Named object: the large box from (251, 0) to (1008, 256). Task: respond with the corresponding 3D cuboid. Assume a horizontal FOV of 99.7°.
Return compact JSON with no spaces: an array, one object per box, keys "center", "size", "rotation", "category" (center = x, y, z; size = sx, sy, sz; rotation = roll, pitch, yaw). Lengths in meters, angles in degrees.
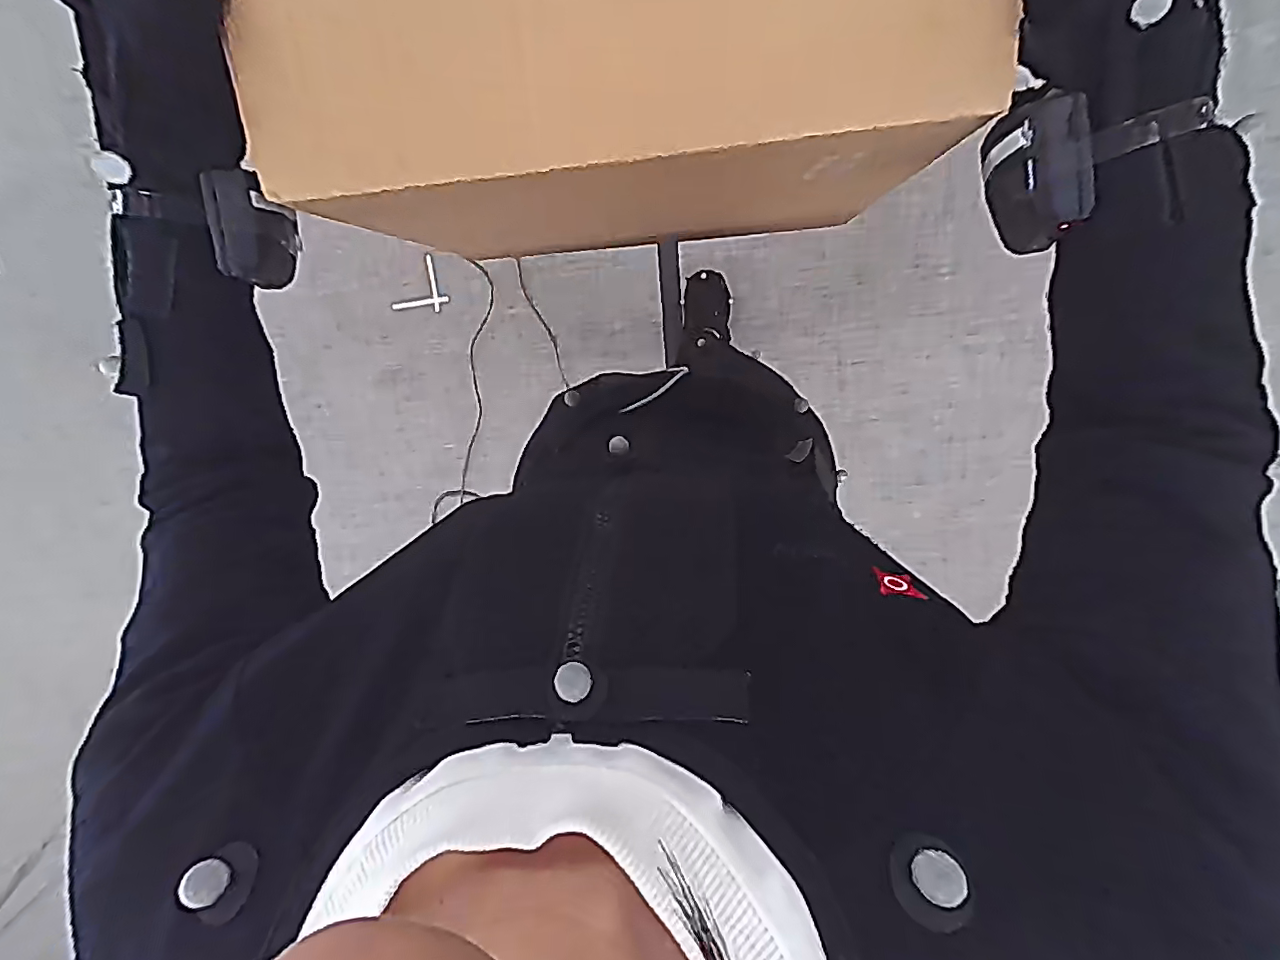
[{"center":[-0.011,-0.373,0.406],"size":[0.408,0.320,0.320],"rotation":[-4,106,7],"category":"large box"}]
